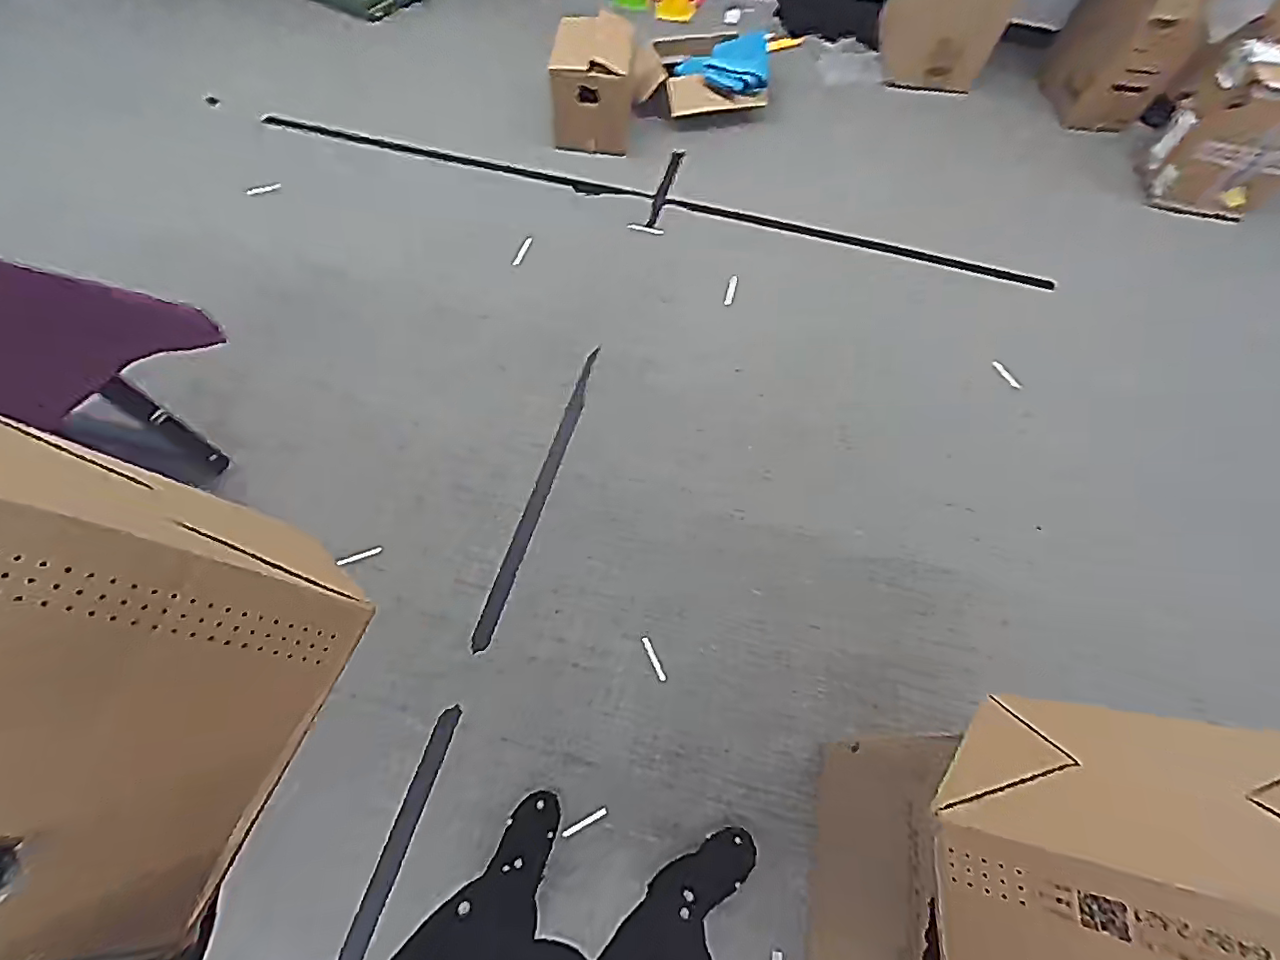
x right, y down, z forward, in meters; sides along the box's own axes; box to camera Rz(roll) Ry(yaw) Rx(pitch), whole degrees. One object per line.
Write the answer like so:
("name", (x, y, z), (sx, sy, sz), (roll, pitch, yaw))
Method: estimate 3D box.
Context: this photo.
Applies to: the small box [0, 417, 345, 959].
("small box", (-0.278, 0.081, 0.253), (0.168, 0.179, 0.176), (12, 72, 46))
